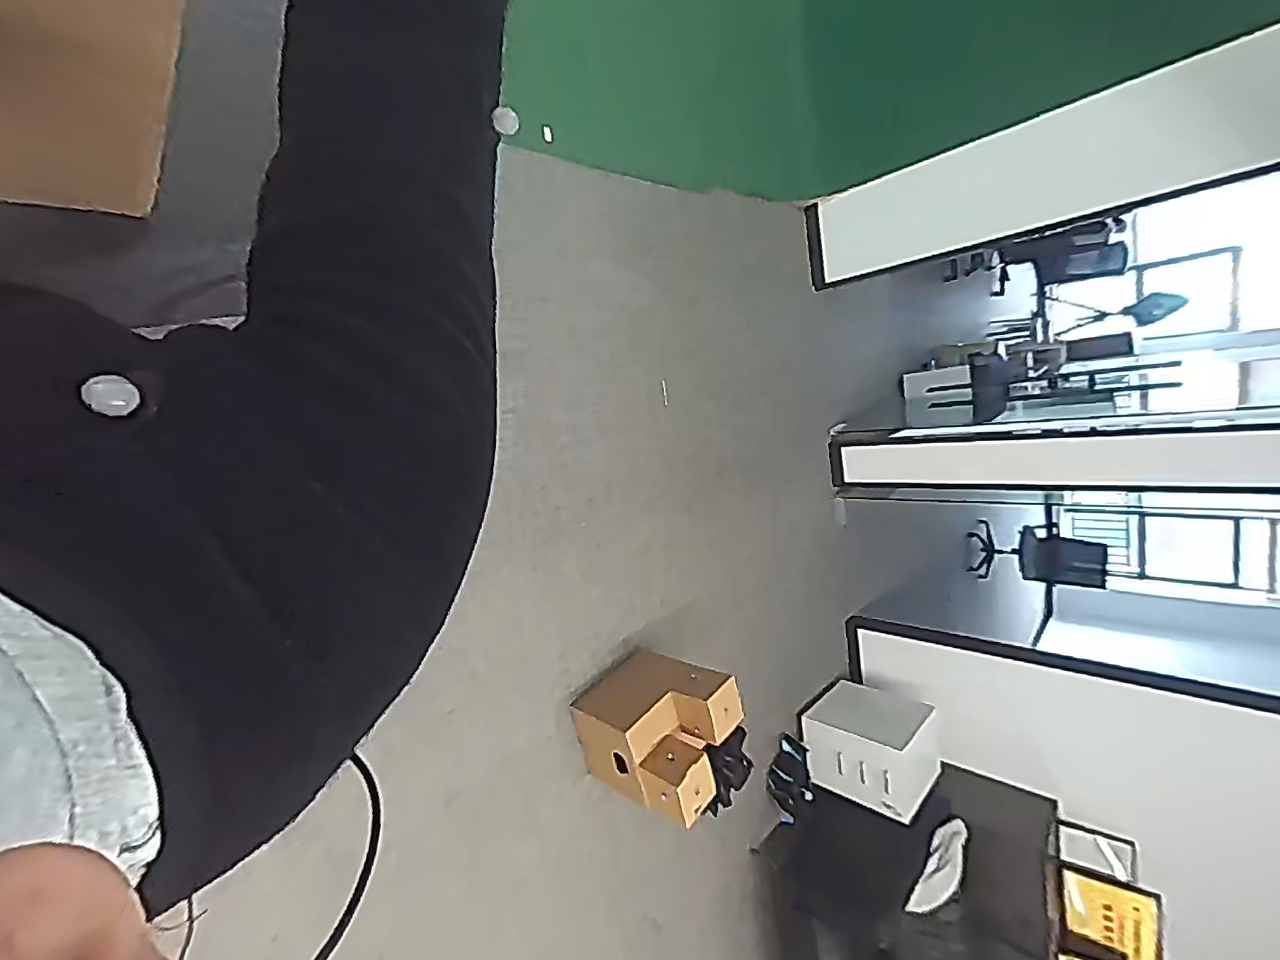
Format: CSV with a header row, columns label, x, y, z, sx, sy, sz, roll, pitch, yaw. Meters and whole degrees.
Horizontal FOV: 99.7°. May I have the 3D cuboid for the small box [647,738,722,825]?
label,x,y,z,sx,sy,sz,roll,pitch,yaw
small box,0.147,1.001,1.818,0.168,0.176,0.179,-29,111,-40

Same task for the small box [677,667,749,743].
label,x,y,z,sx,sy,sz,roll,pitch,yaw
small box,0.259,0.796,1.930,0.168,0.176,0.179,-26,104,-42
